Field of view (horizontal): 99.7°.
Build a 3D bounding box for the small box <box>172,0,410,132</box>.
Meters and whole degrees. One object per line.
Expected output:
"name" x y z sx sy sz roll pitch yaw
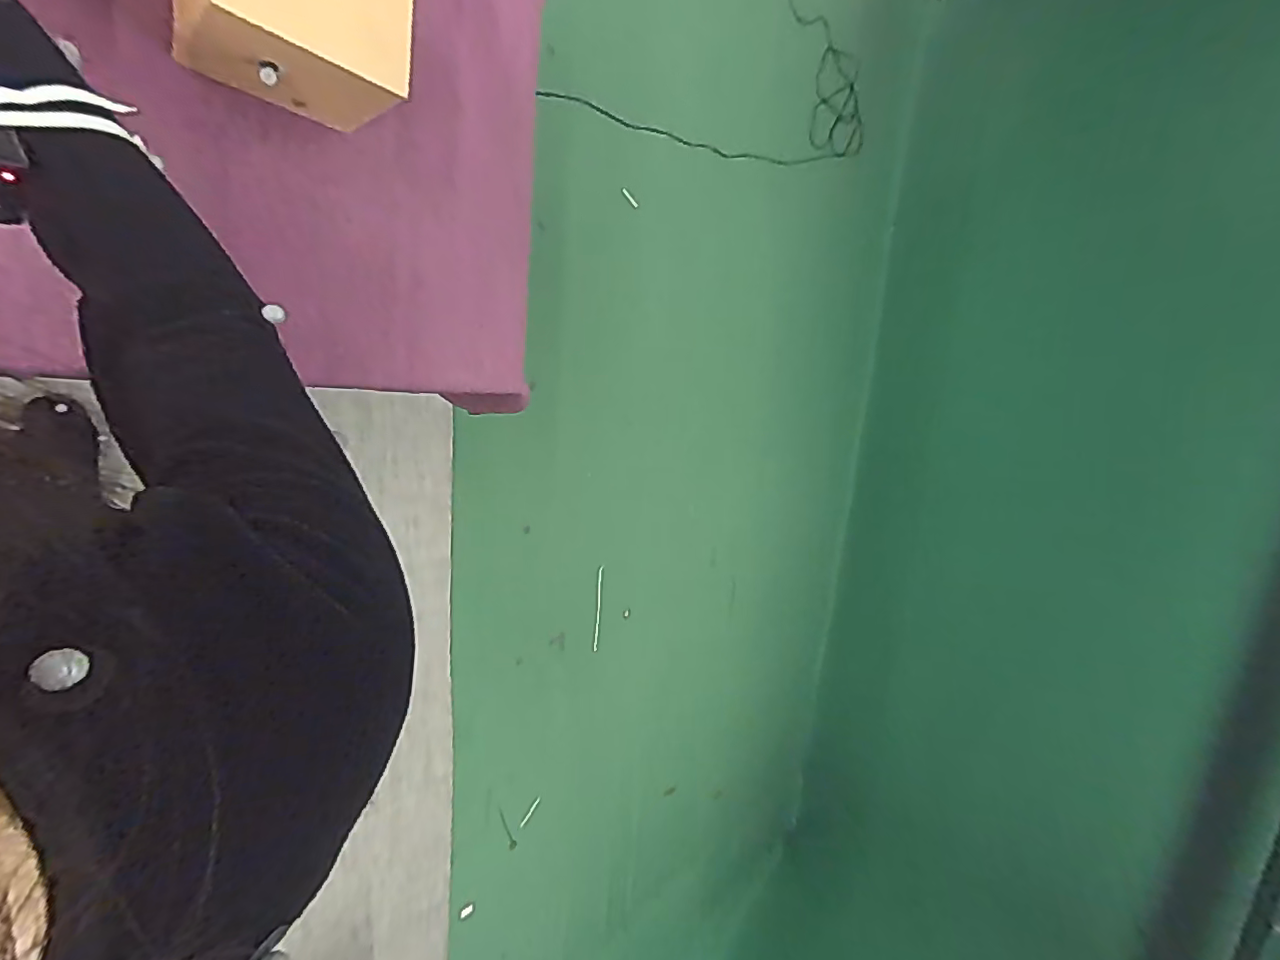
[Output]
"small box" -0.344 -0.483 0.535 0.168 0.176 0.179 -2 102 -47
